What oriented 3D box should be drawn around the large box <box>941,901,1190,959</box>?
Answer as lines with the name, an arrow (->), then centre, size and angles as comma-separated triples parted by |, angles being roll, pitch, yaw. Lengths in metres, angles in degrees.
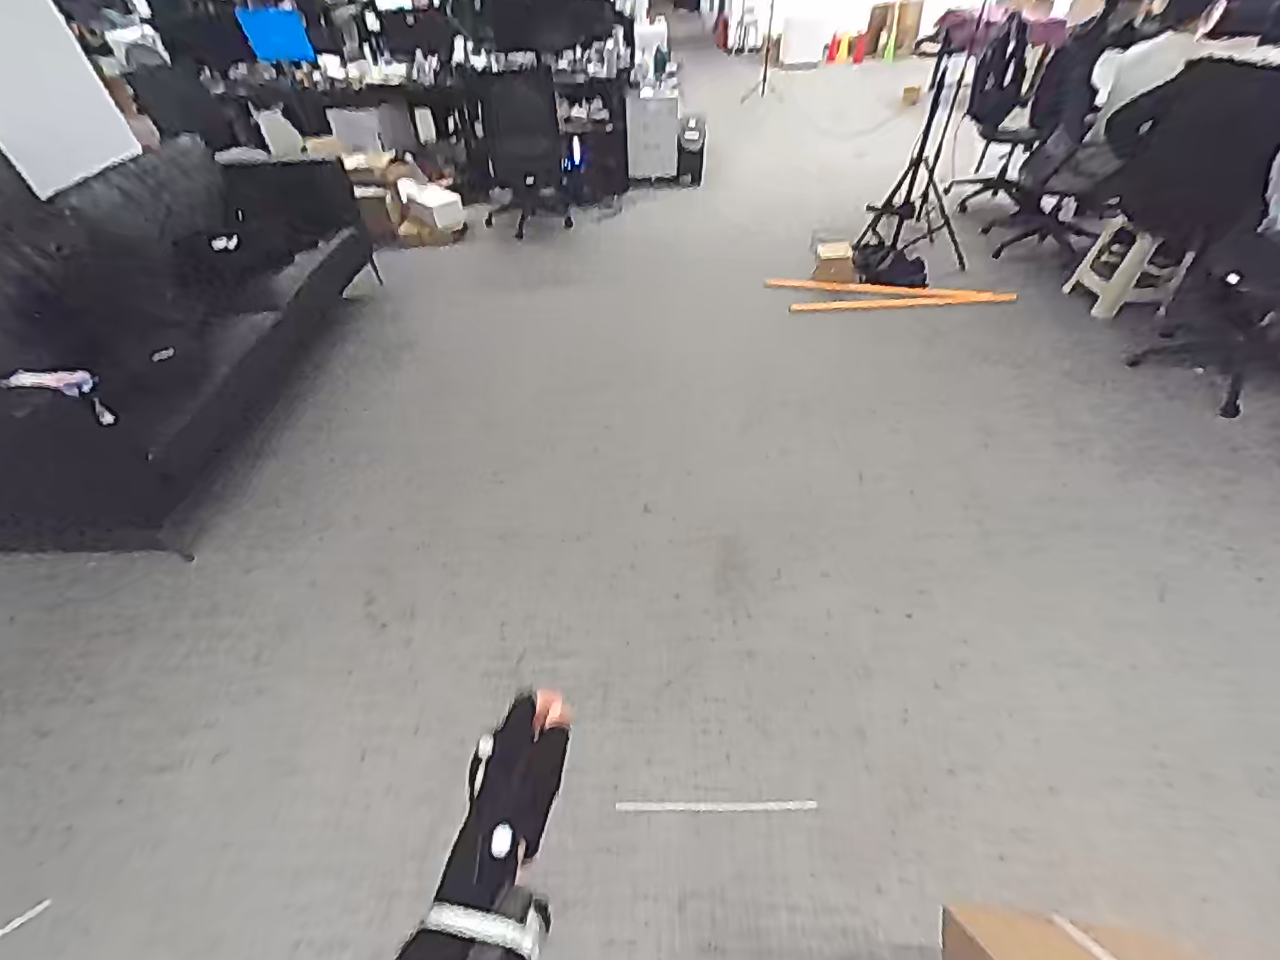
large box -> 0.556, 0.731, 0.550 | 0.320, 0.408, 0.320 | 6, 78, 4
